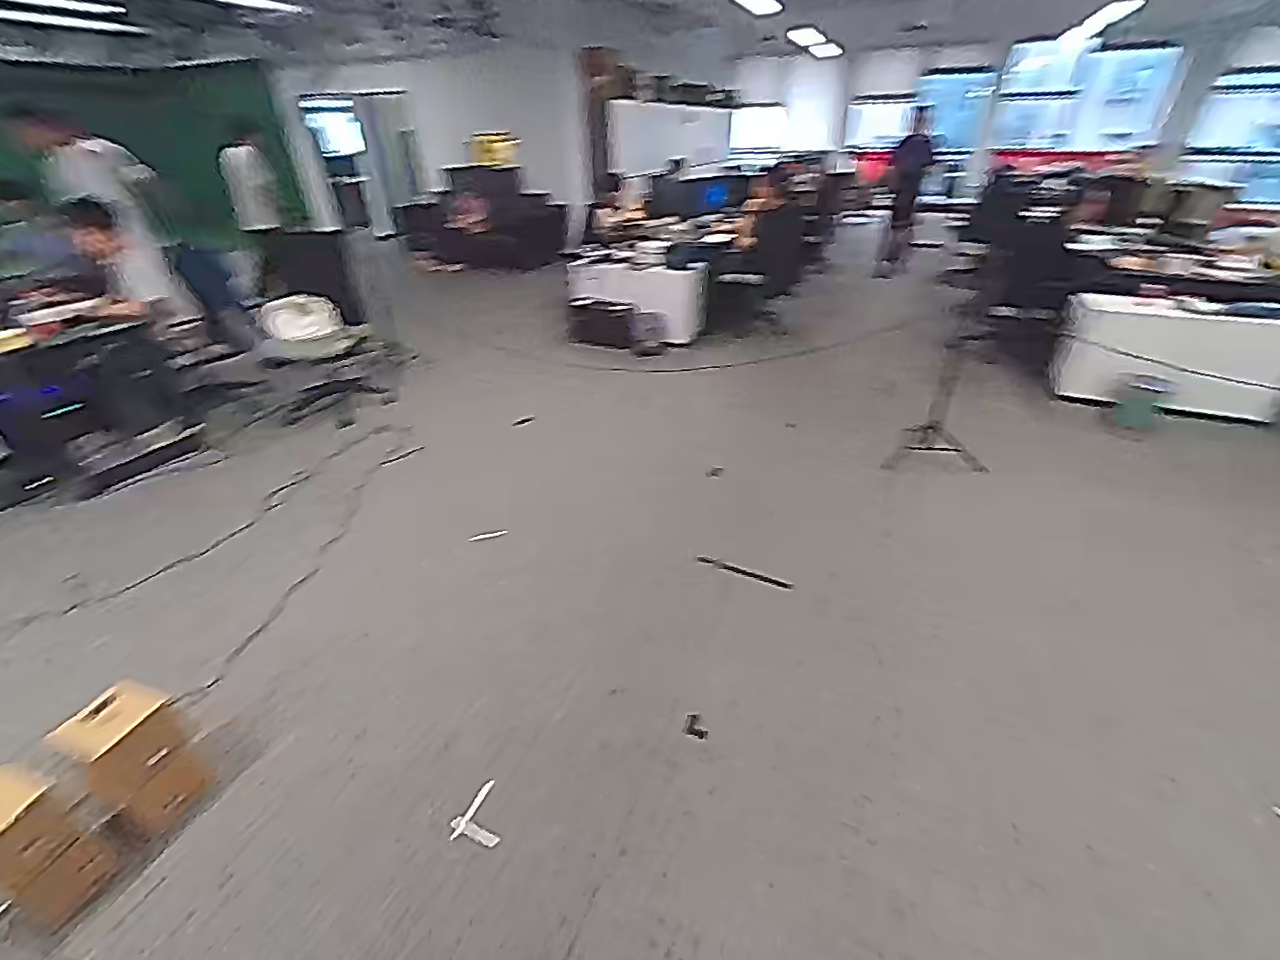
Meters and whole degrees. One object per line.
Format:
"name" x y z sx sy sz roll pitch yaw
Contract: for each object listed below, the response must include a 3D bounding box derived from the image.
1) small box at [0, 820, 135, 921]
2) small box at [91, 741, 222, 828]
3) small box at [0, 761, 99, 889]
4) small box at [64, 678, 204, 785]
"small box" -1.383 0.912 1.297 0.179 0.176 0.168 11 34 18
"small box" -1.297 0.802 1.463 0.179 0.176 0.168 9 34 14
"small box" -1.390 0.773 1.209 0.179 0.176 0.168 9 34 14
"small box" -1.294 0.650 1.395 0.179 0.176 0.168 10 35 15
